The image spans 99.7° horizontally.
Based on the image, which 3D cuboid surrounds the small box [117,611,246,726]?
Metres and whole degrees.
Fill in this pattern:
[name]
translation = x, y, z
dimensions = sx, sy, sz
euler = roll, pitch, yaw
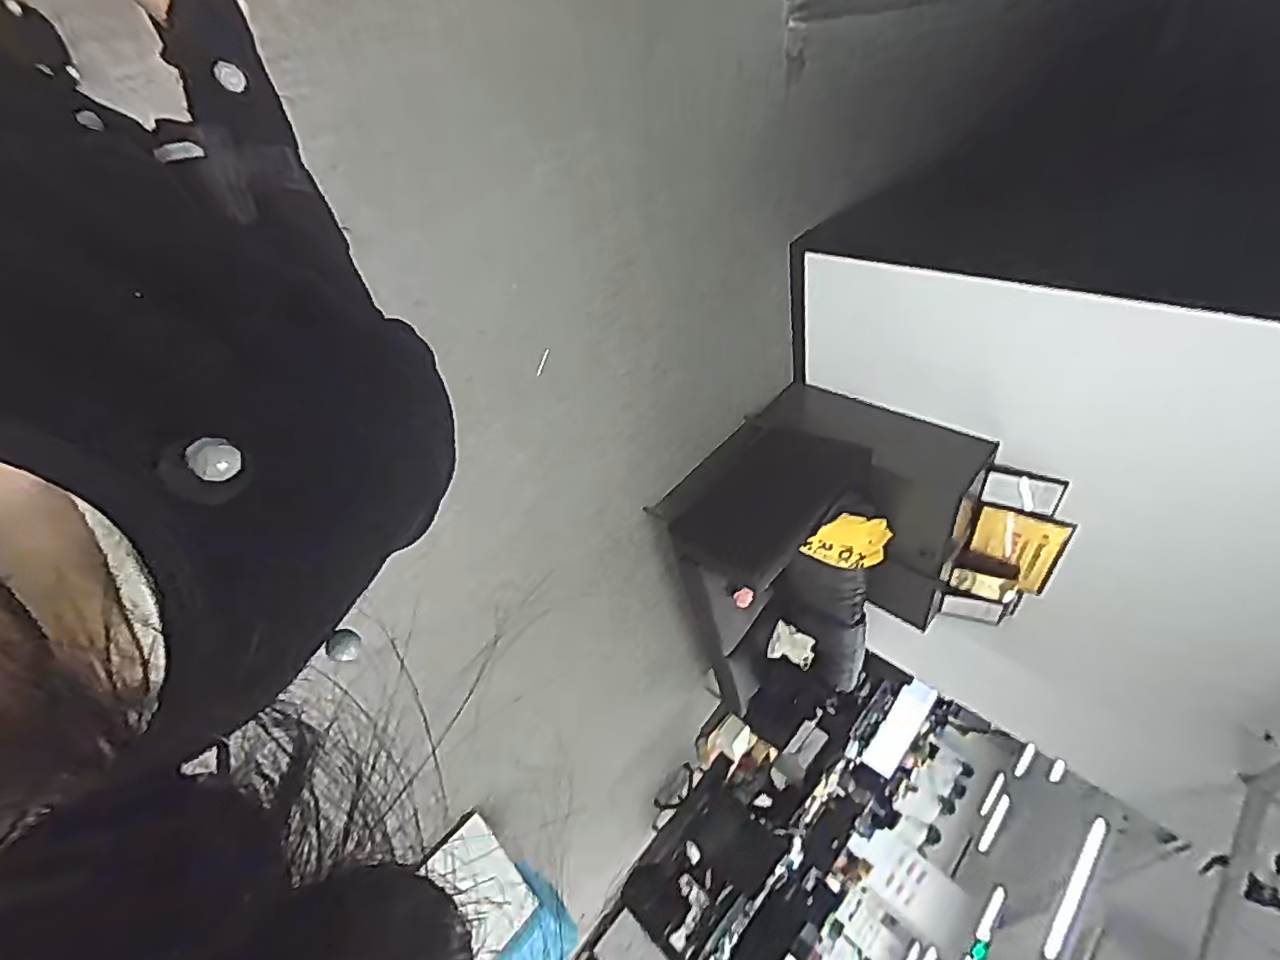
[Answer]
[small box]
translation = -1.141, 0.462, 1.344
dimensions = 0.179, 0.176, 0.168
euler = -43, 139, -23
